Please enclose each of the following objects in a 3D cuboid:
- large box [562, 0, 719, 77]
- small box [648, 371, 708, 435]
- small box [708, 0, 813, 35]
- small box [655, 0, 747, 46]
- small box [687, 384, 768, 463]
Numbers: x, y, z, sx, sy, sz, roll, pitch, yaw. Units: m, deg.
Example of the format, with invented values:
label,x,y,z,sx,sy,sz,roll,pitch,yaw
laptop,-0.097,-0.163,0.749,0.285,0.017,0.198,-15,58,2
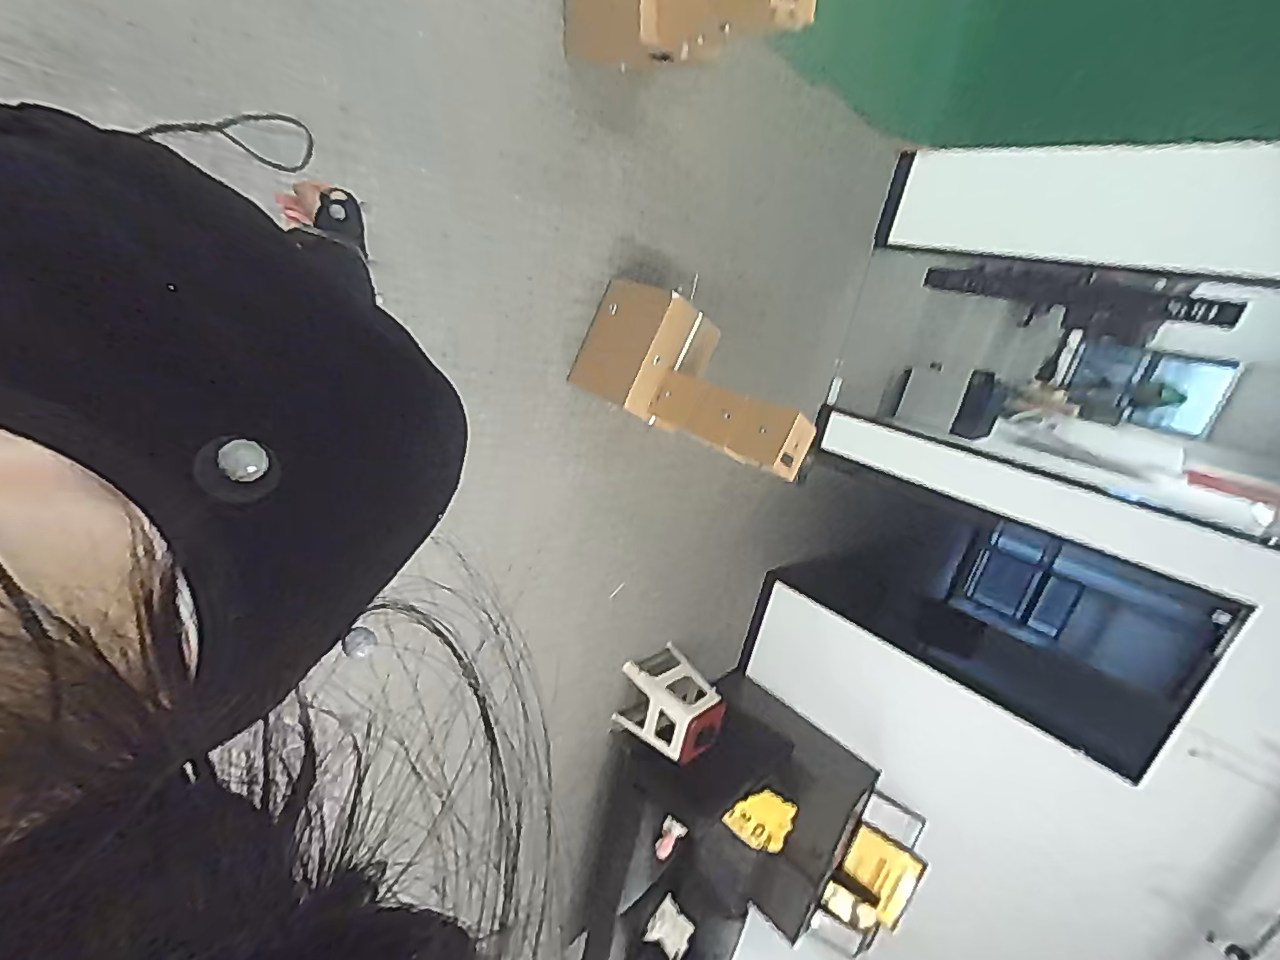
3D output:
label,x,y,z,sx,sy,sz,roll,pitch,yaw
large box,0.002,-1.330,1.404,0.320,0.320,0.408,-23,126,-39
small box,0.162,-0.248,1.815,0.179,0.176,0.168,21,95,-52
small box,0.265,-1.100,1.172,0.168,0.176,0.179,-22,125,-38
small box,0.154,-1.161,1.278,0.168,0.176,0.179,-18,124,-41
small box,0.271,-0.180,1.716,0.168,0.176,0.179,23,93,-52
